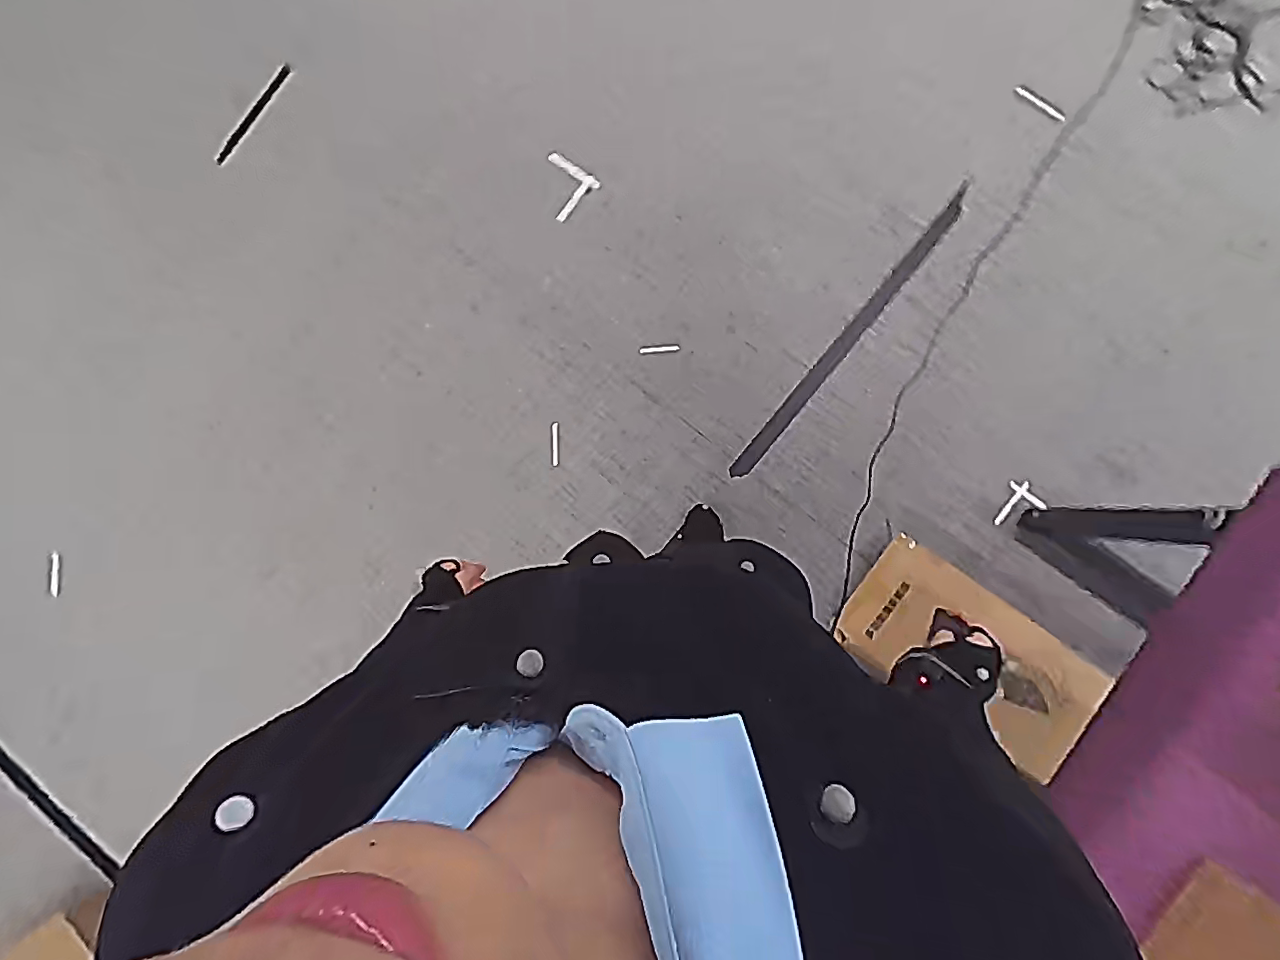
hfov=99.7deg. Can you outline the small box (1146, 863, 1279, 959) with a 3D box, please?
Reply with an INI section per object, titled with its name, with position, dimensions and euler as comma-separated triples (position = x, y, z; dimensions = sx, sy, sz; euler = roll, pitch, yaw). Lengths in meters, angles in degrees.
[small box]
position = 0.725, 0.585, 0.590
dimensions = 0.168, 0.176, 0.179
euler = 36, 90, 3
